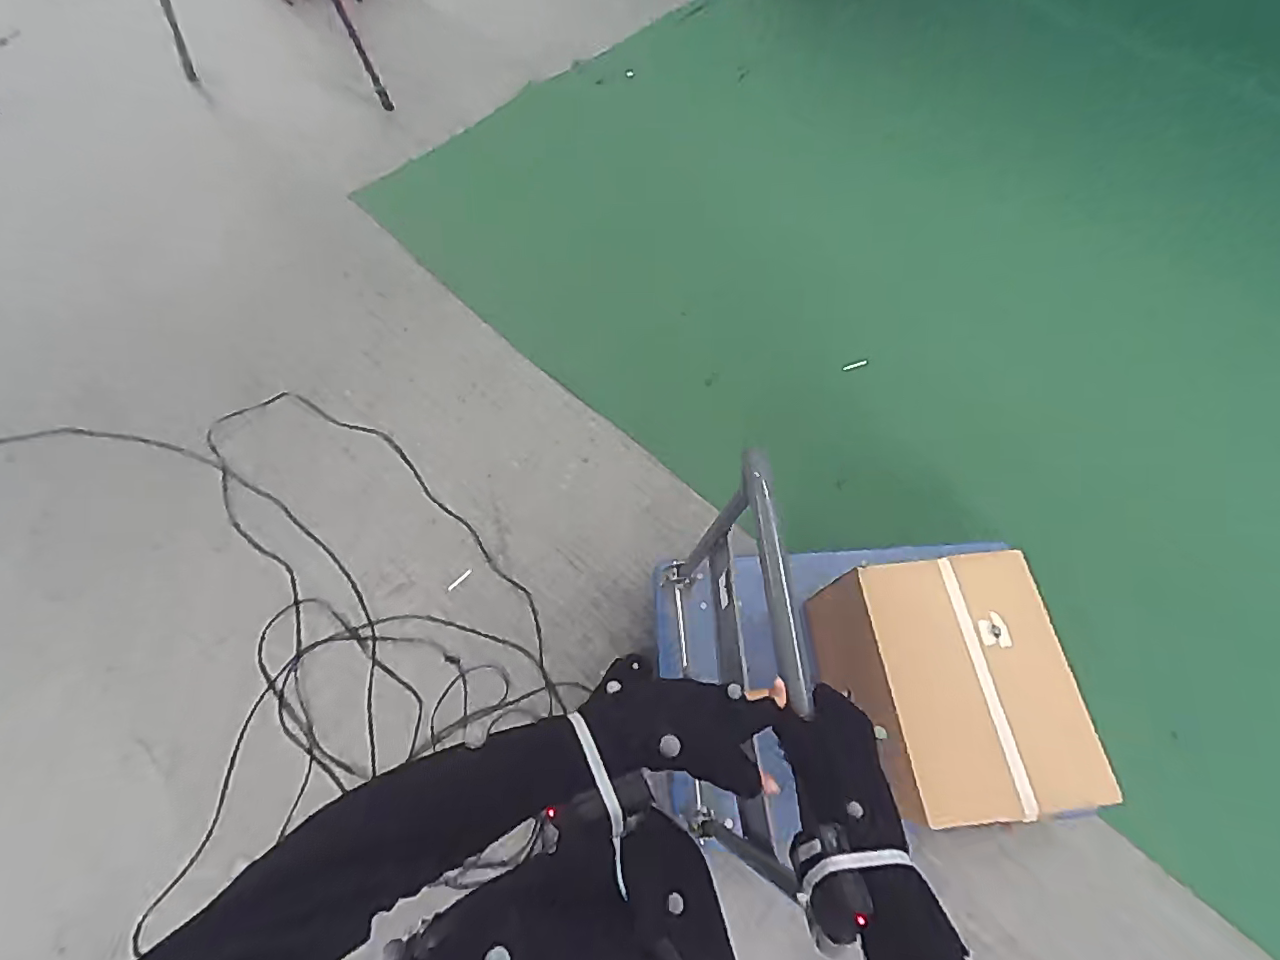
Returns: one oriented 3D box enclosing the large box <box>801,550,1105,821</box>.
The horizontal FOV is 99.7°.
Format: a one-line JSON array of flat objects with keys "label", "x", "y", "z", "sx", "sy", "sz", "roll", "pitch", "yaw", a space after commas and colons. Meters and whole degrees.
[{"label": "large box", "x": 0.543, "y": 0.386, "z": 1.040, "sx": 0.320, "sy": 0.320, "sz": 0.408, "roll": -4, "pitch": 65, "yaw": -5}]
